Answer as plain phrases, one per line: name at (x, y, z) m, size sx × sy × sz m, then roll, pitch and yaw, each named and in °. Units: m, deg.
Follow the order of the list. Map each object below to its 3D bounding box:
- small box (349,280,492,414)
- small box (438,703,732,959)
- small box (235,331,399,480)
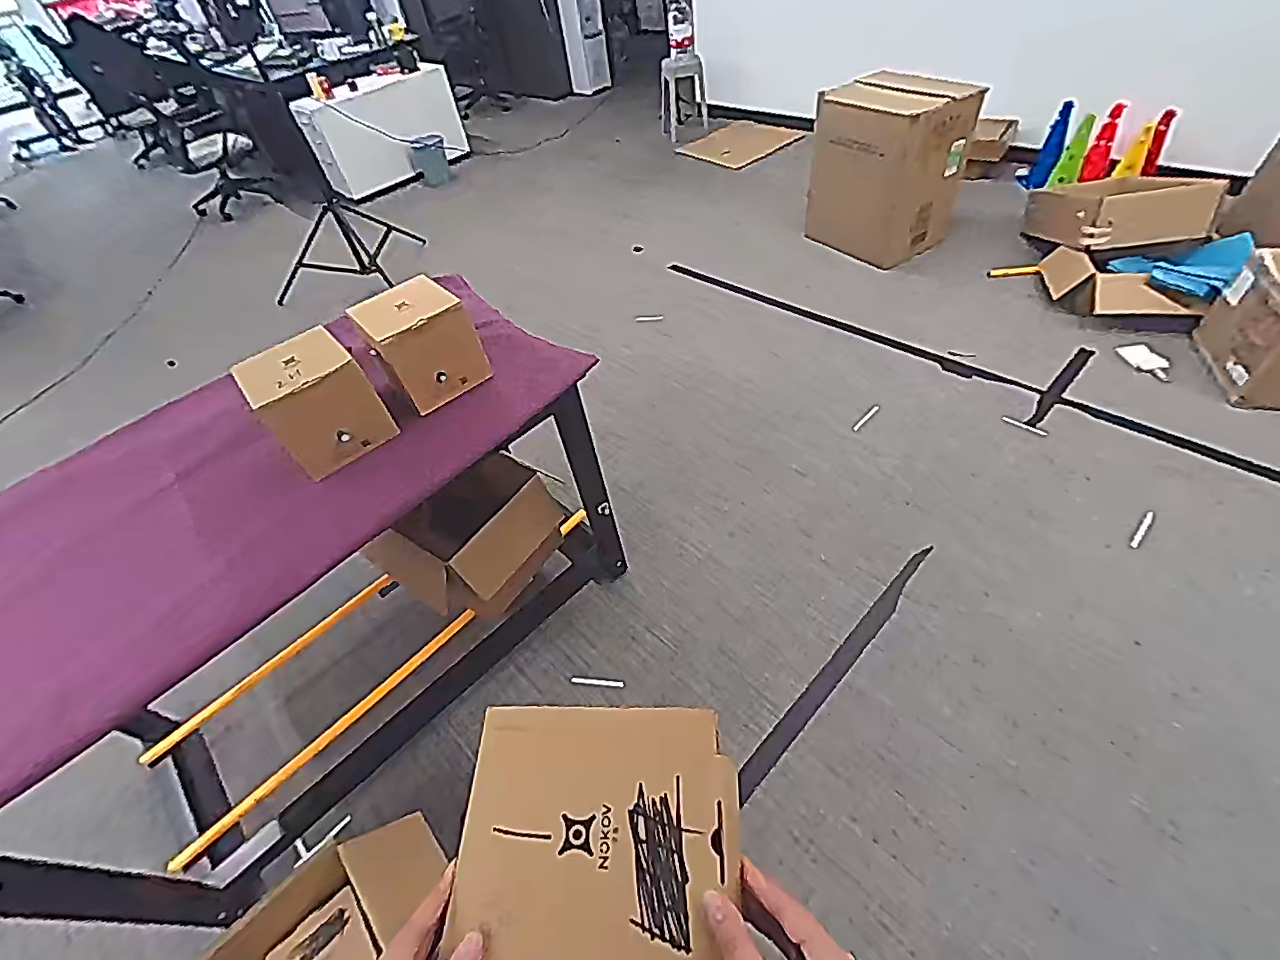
small box at (-0.419, -0.255, 1.048) m, size 0.168 × 0.176 × 0.179 m, roll -37°, pitch 52°, yaw -21°
small box at (-0.025, 0.282, 0.418) m, size 0.179 × 0.176 × 0.168 m, roll -2°, pitch 52°, yaw 6°
small box at (-0.567, -0.131, 0.964) m, size 0.168 × 0.176 × 0.179 m, roll -37°, pitch 52°, yaw -21°
